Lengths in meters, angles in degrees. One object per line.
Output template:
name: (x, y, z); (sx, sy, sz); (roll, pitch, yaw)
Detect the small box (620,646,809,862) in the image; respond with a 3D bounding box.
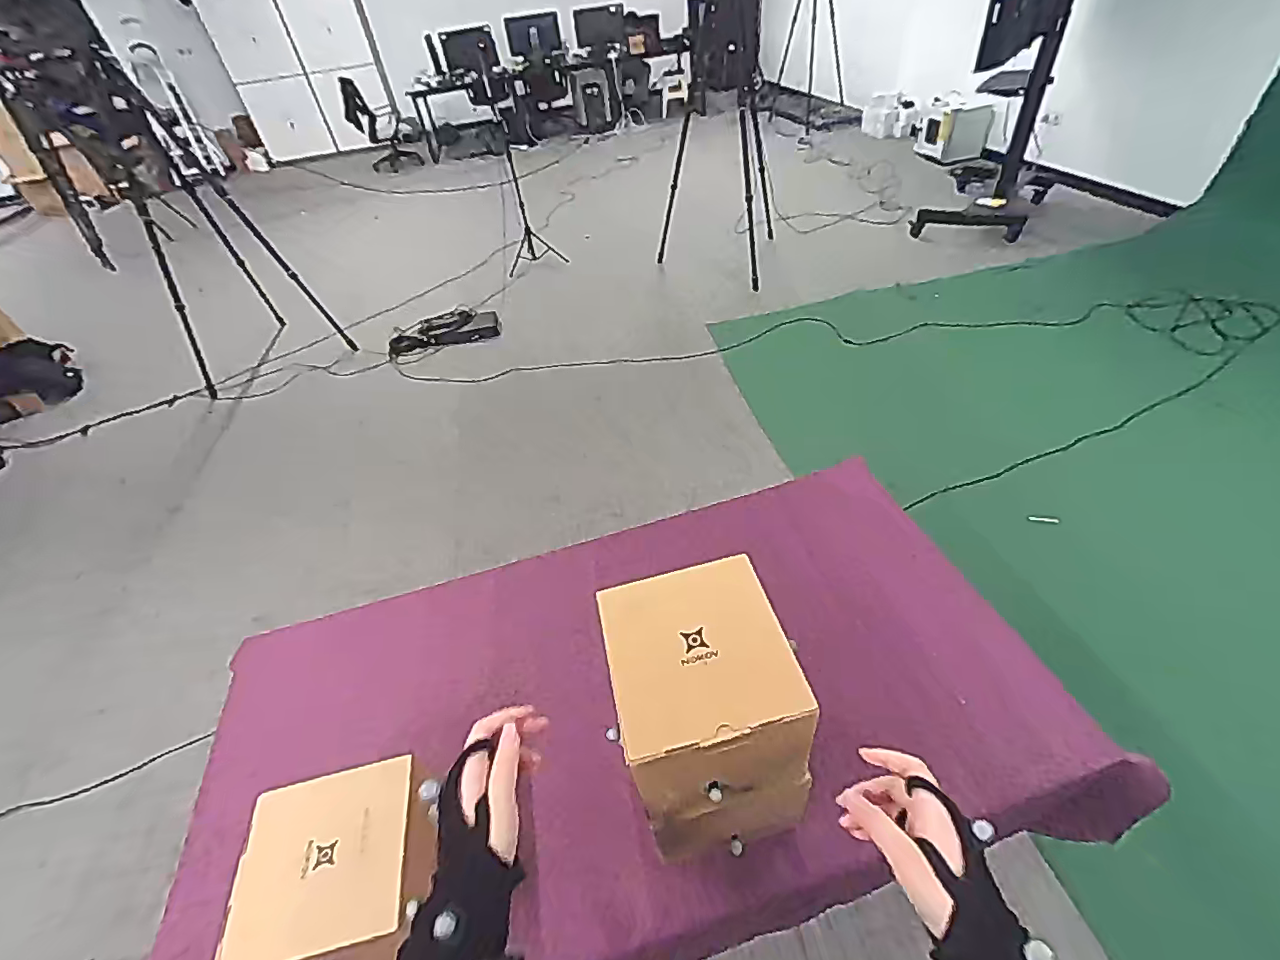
small box: (0.084, 0.338, 0.667); (0.179, 0.176, 0.168); (-14, 43, -6)

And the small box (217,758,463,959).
small box: (-0.319, 0.452, 0.615); (0.179, 0.176, 0.168); (-13, 44, -5)
